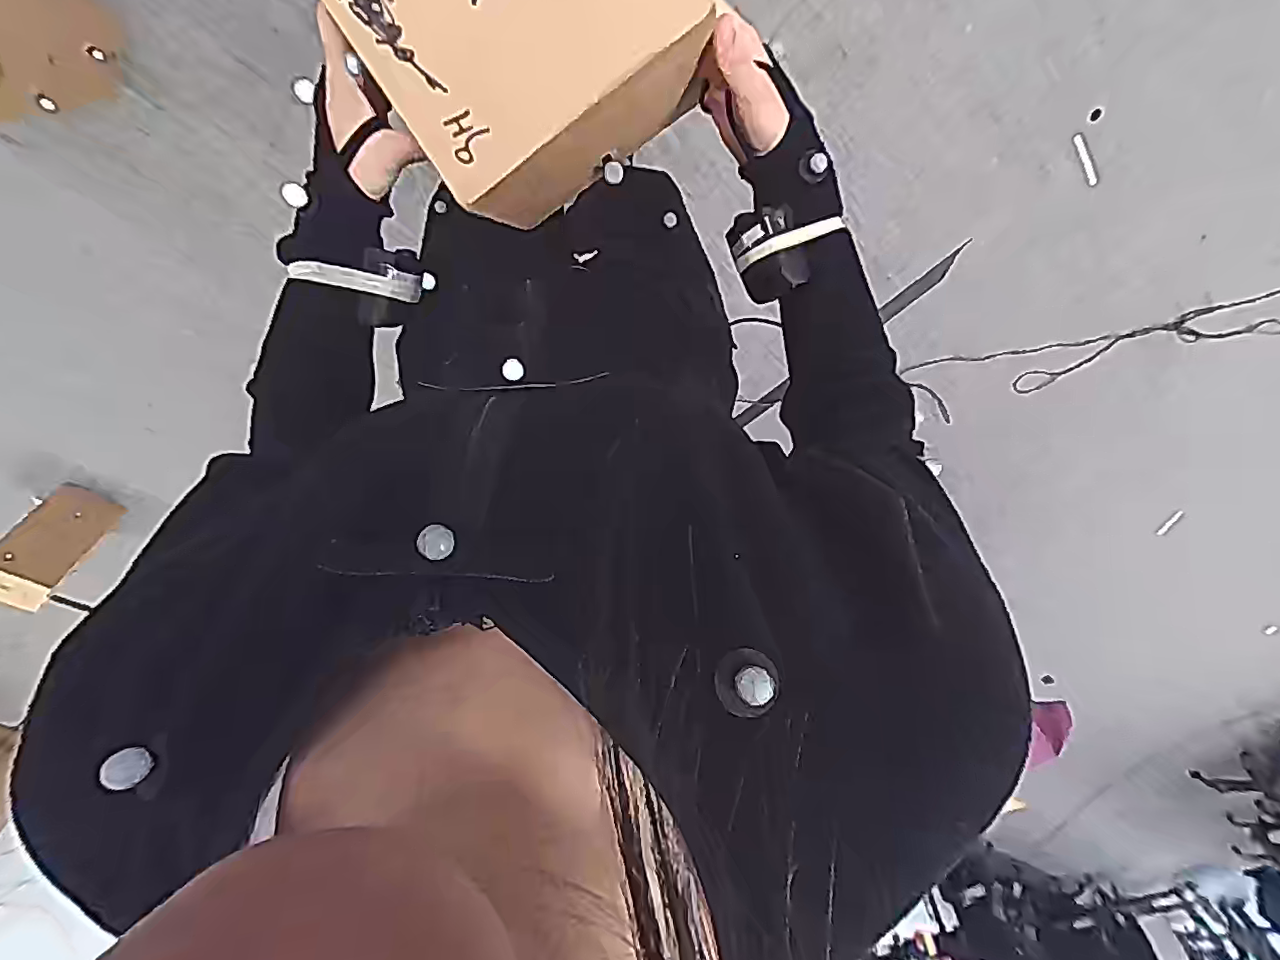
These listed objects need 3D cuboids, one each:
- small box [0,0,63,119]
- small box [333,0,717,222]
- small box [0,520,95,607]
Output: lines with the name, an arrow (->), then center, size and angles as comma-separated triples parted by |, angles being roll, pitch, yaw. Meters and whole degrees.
small box -> -1.057, -0.693, 0.829 | 0.179, 0.176, 0.168 | 32, 122, -27
small box -> -0.072, -0.298, 0.350 | 0.179, 0.176, 0.168 | -31, 104, 12
small box -> -1.797, 0.241, 1.602 | 0.168, 0.176, 0.179 | -34, 126, 25
